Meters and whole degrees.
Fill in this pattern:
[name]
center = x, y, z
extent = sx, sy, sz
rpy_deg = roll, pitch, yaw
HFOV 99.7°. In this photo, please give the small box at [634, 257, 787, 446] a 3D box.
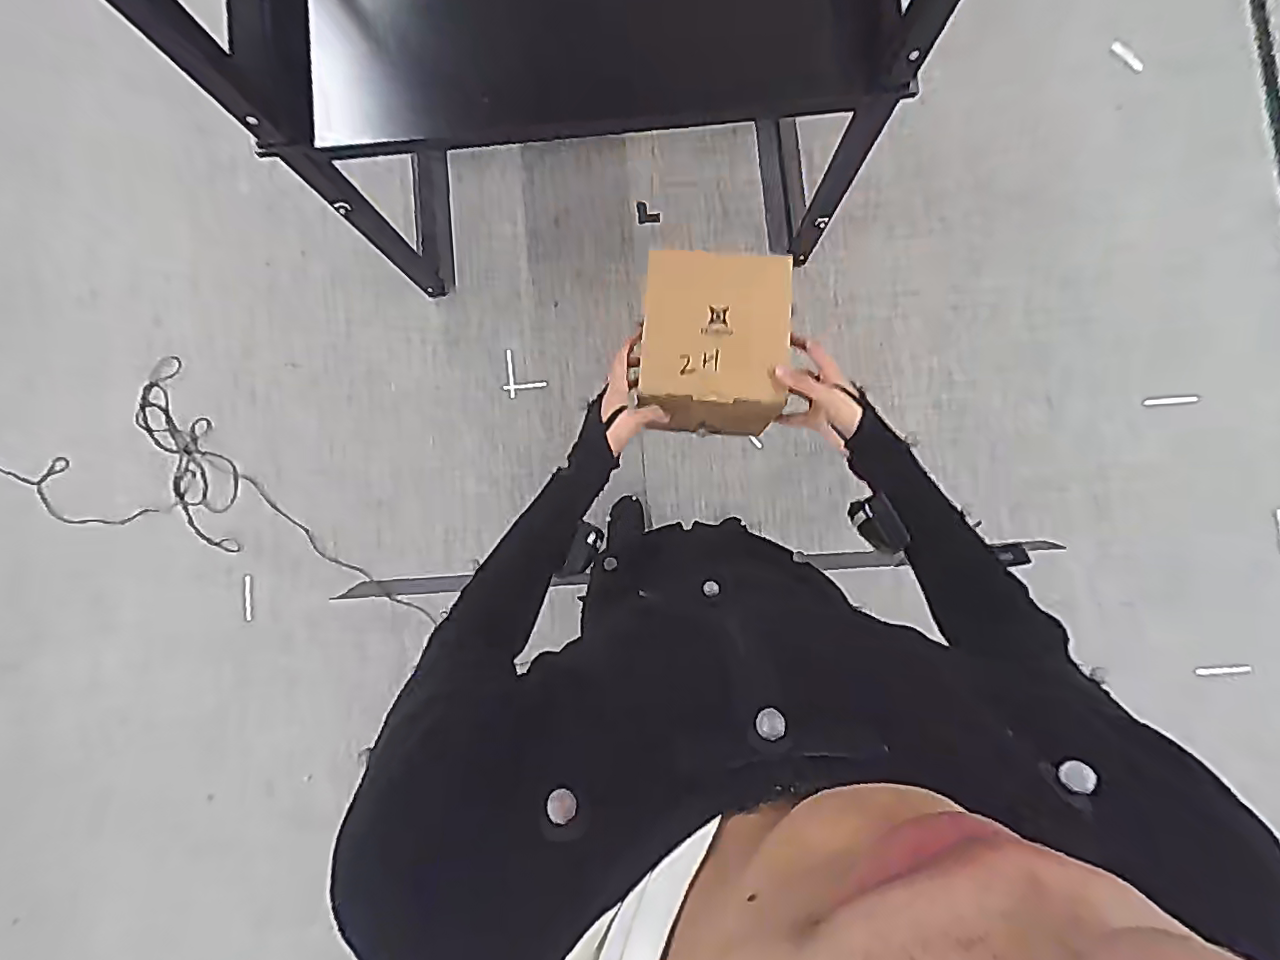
[small box]
center = 0.081, -0.152, 0.686
extent = 0.168, 0.176, 0.179
rpy_deg = 5, 81, 1
